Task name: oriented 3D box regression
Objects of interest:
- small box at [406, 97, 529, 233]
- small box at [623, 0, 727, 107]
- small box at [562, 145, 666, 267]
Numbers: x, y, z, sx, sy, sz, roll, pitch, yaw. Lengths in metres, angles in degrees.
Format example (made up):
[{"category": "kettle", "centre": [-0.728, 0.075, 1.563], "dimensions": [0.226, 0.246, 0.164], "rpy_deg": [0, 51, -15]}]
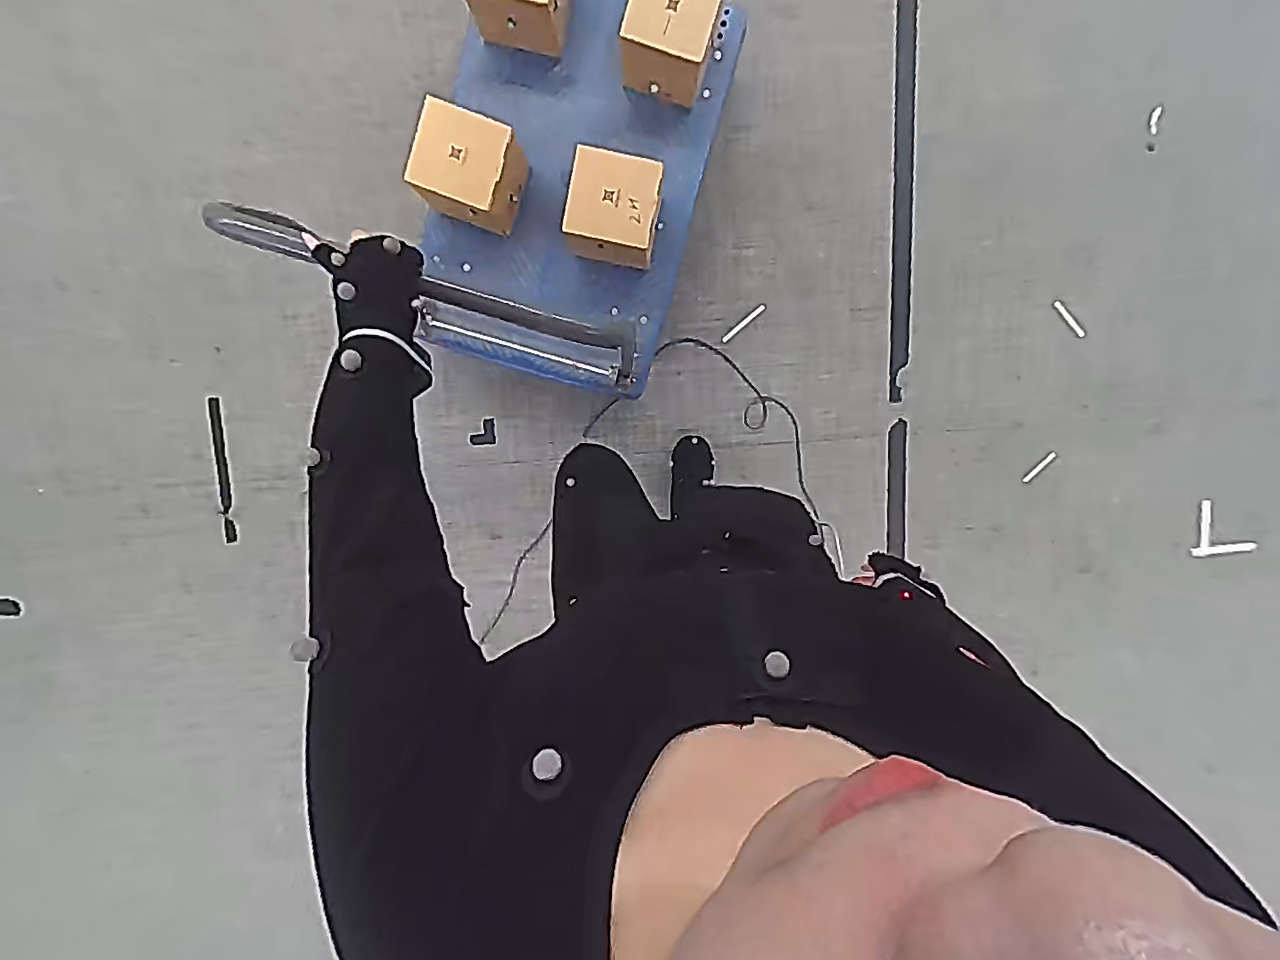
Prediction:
[{"category": "small box", "centre": [-0.349, -0.641, 1.124], "dimensions": [0.179, 0.176, 0.168], "rpy_deg": [19, 98, -4]}, {"category": "small box", "centre": [0.069, -0.901, 1.082], "dimensions": [0.168, 0.176, 0.179], "rpy_deg": [18, 99, -2]}, {"category": "small box", "centre": [-0.050, -0.561, 1.132], "dimensions": [0.179, 0.176, 0.168], "rpy_deg": [12, 98, -1]}]
